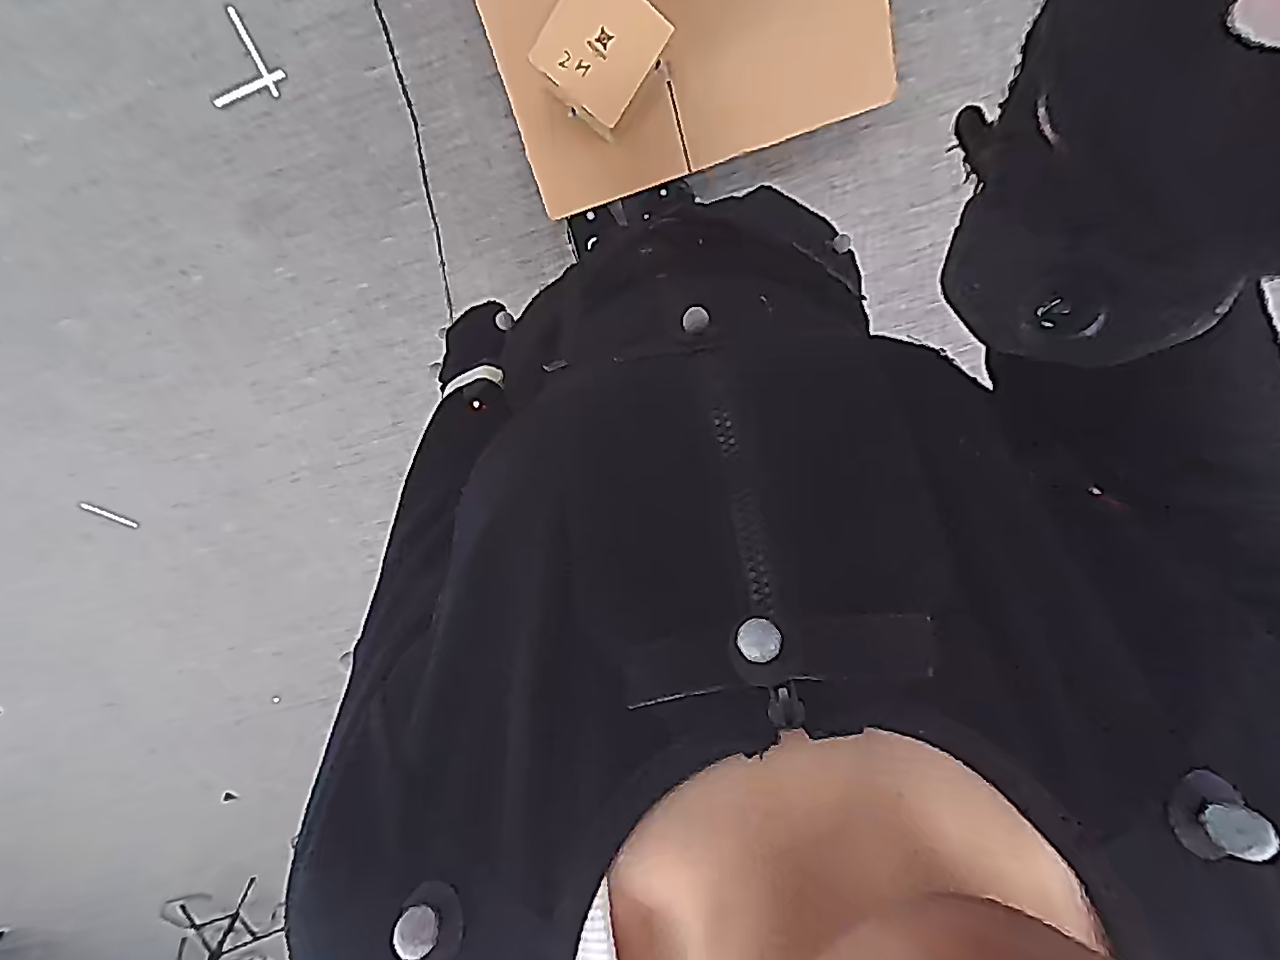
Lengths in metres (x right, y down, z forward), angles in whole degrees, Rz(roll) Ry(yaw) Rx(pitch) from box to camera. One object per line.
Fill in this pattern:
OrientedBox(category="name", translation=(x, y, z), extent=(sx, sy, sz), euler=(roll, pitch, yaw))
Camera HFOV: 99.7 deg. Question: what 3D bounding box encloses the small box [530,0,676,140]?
OrientedBox(category="small box", translation=(-0.062, -0.718, 0.916), extent=(0.168, 0.176, 0.179), euler=(35, 110, -16))
